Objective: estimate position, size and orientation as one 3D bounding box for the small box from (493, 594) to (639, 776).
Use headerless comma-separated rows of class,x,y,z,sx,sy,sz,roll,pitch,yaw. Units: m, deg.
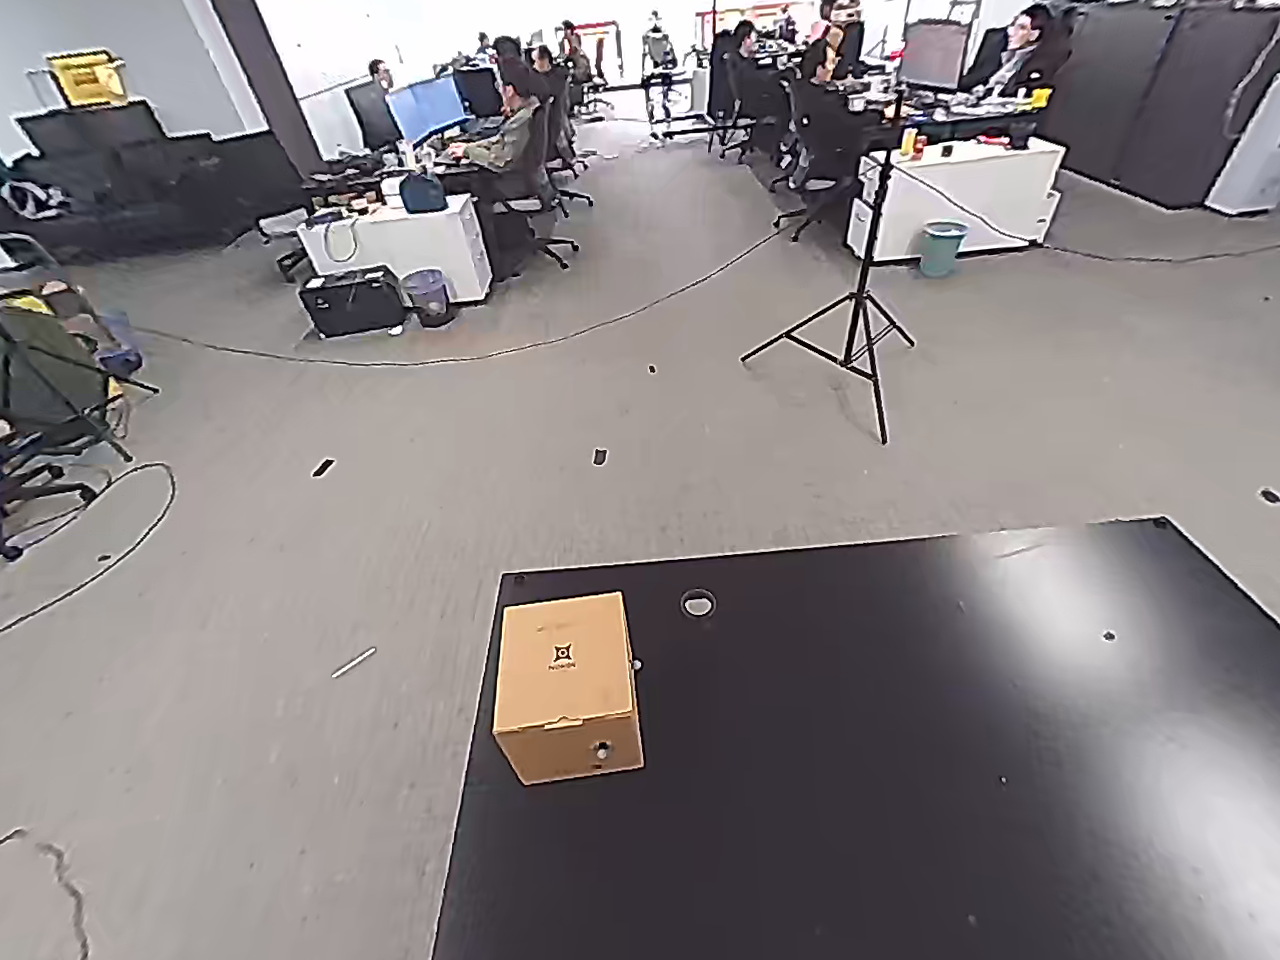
small box,-0.095,0.288,0.747,0.168,0.176,0.179,-7,41,-3
